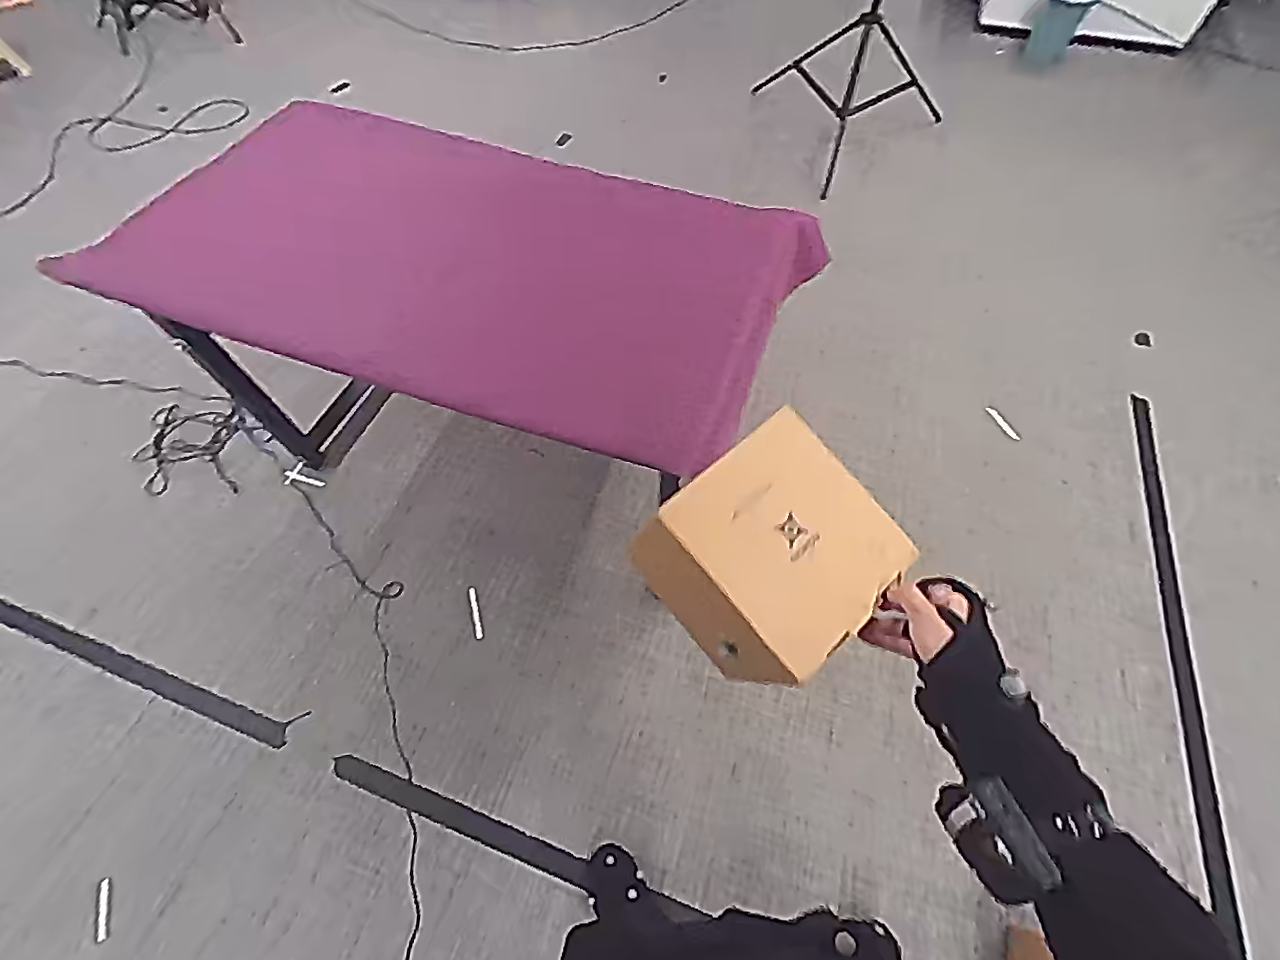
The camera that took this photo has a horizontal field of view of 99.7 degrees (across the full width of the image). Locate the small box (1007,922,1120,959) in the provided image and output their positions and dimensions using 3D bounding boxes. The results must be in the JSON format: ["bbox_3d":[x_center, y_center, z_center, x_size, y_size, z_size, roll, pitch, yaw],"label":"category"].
[{"bbox_3d":[0.781,0.930,0.958,0.168,0.176,0.179,17,62,10],"label":"small box"}]

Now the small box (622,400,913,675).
[{"bbox_3d":[0.106,0.062,0.520,0.168,0.176,0.179,-38,82,-22],"label":"small box"}]
